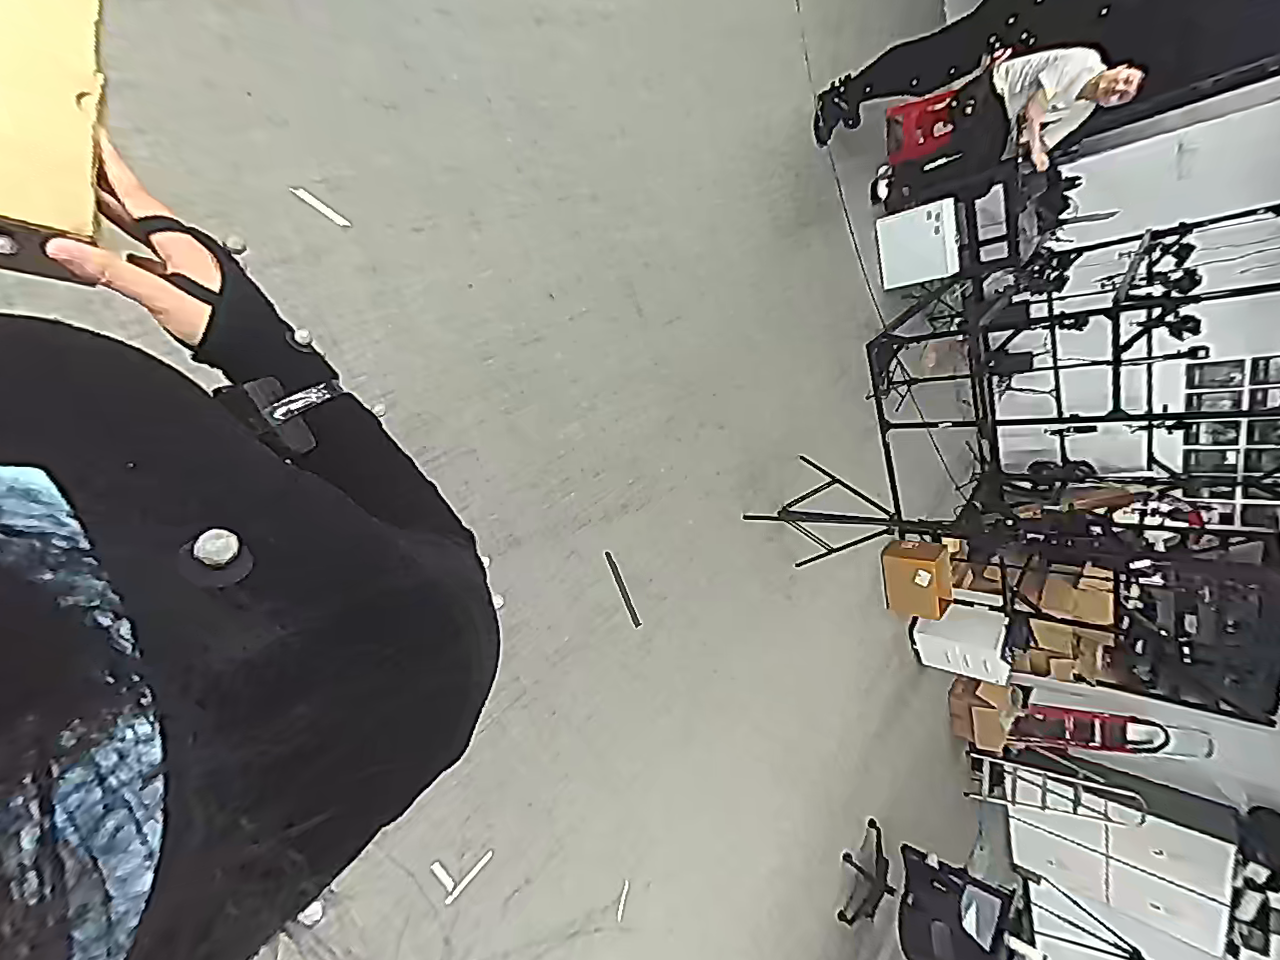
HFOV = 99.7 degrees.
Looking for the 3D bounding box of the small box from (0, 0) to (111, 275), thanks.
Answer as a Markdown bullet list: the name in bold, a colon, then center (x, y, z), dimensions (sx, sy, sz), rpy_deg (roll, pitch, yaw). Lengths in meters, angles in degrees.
- **small box**: center (-0.455, -0.243, 0.335), dimensions (0.179, 0.176, 0.168), rpy_deg (2, 92, -46)
